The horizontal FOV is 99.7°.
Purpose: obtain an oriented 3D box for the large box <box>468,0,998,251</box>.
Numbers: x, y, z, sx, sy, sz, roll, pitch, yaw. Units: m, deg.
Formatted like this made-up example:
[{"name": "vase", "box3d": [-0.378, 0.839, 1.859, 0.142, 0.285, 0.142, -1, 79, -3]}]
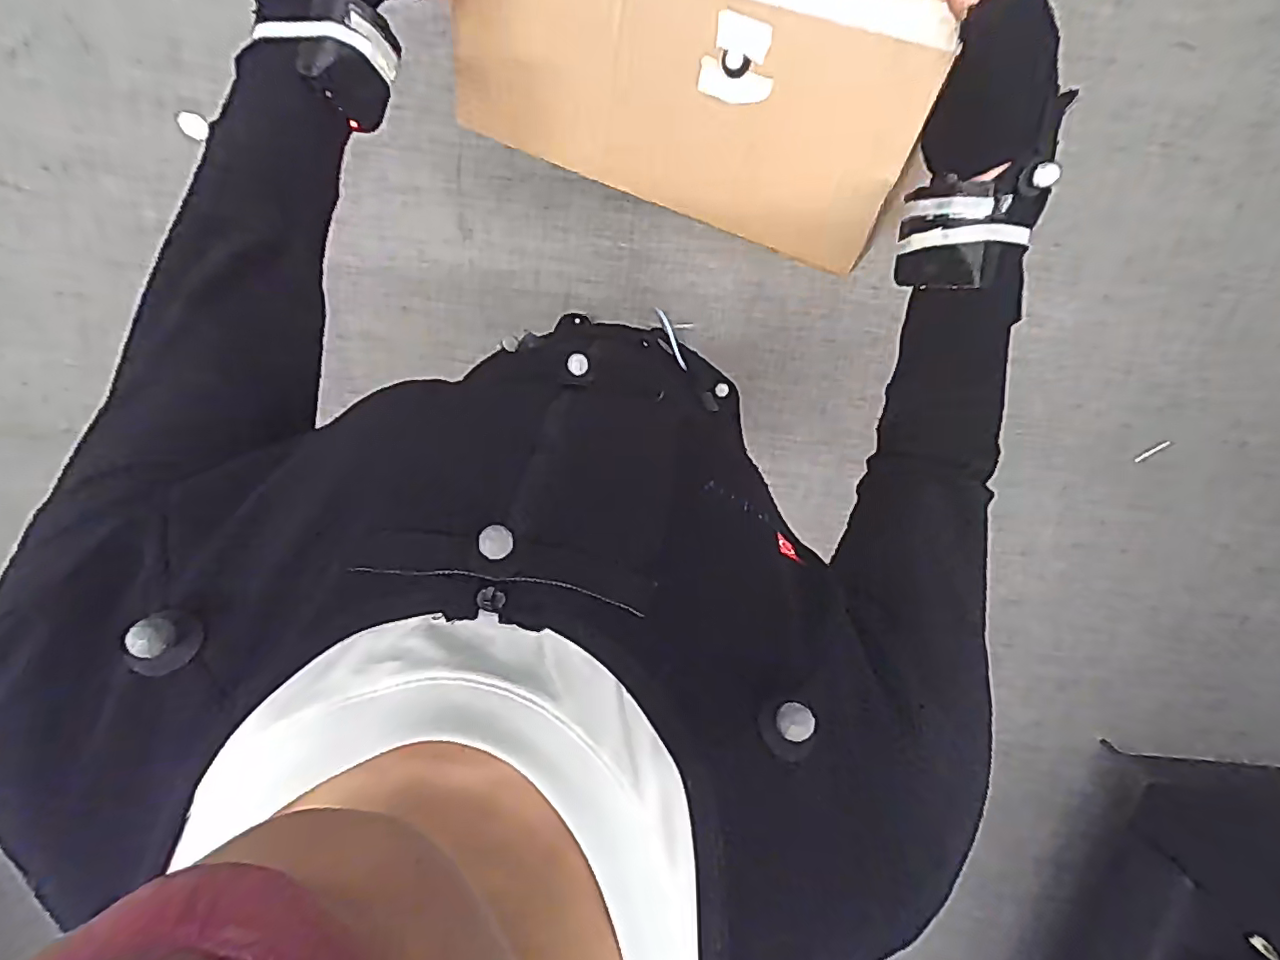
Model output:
[{"name": "large box", "box3d": [0.104, -0.456, 0.489, 0.408, 0.320, 0.320, 27, 133, 12]}]
